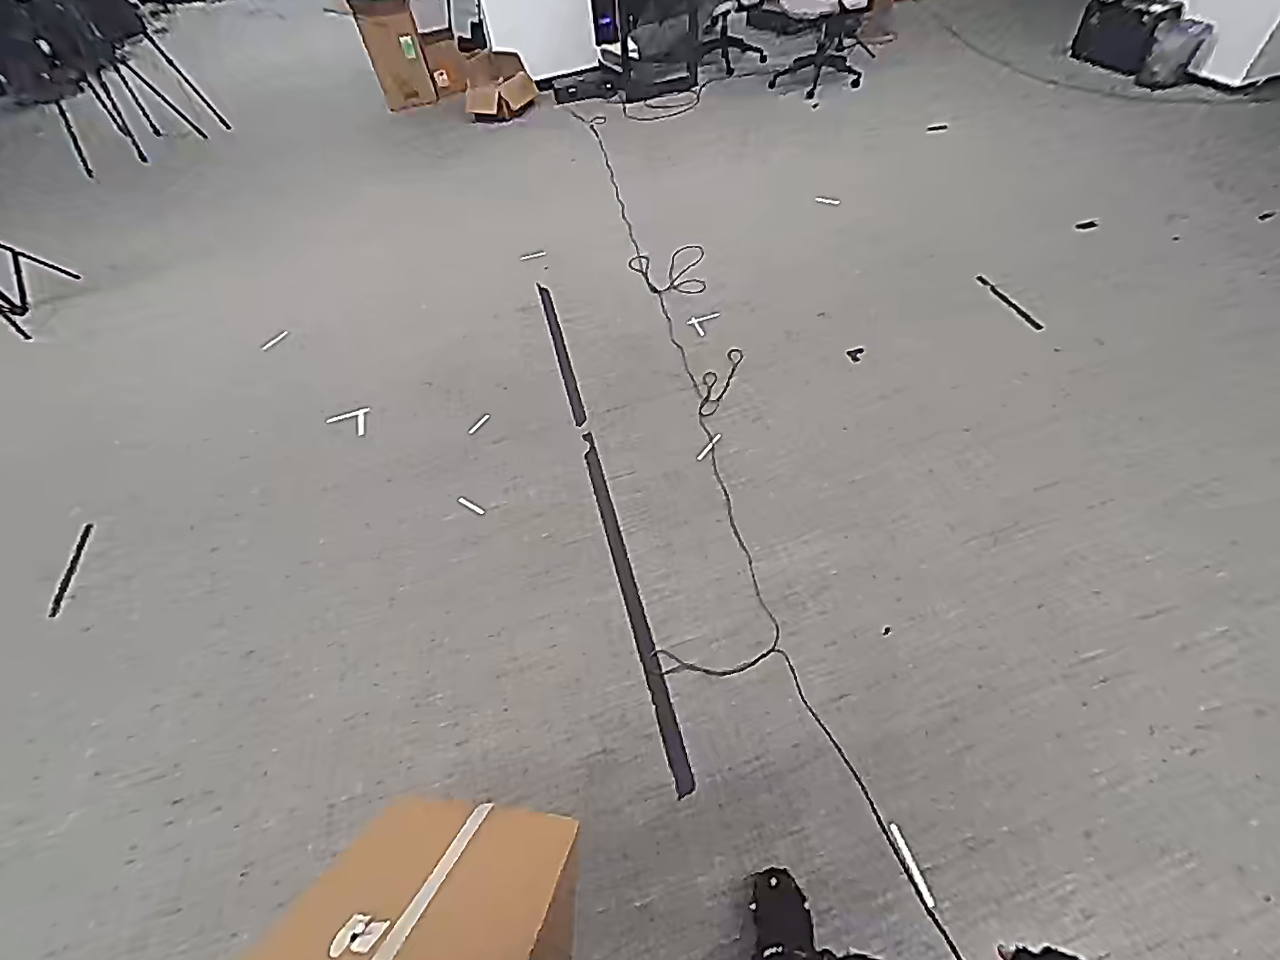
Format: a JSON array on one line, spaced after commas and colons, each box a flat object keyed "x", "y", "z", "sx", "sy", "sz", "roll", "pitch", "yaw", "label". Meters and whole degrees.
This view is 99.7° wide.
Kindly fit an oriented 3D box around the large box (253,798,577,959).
[{"x": -0.287, "y": 0.705, "z": 0.707, "sx": 0.320, "sy": 0.408, "sz": 0.320, "roll": 3, "pitch": 92, "yaw": 9, "label": "large box"}]
